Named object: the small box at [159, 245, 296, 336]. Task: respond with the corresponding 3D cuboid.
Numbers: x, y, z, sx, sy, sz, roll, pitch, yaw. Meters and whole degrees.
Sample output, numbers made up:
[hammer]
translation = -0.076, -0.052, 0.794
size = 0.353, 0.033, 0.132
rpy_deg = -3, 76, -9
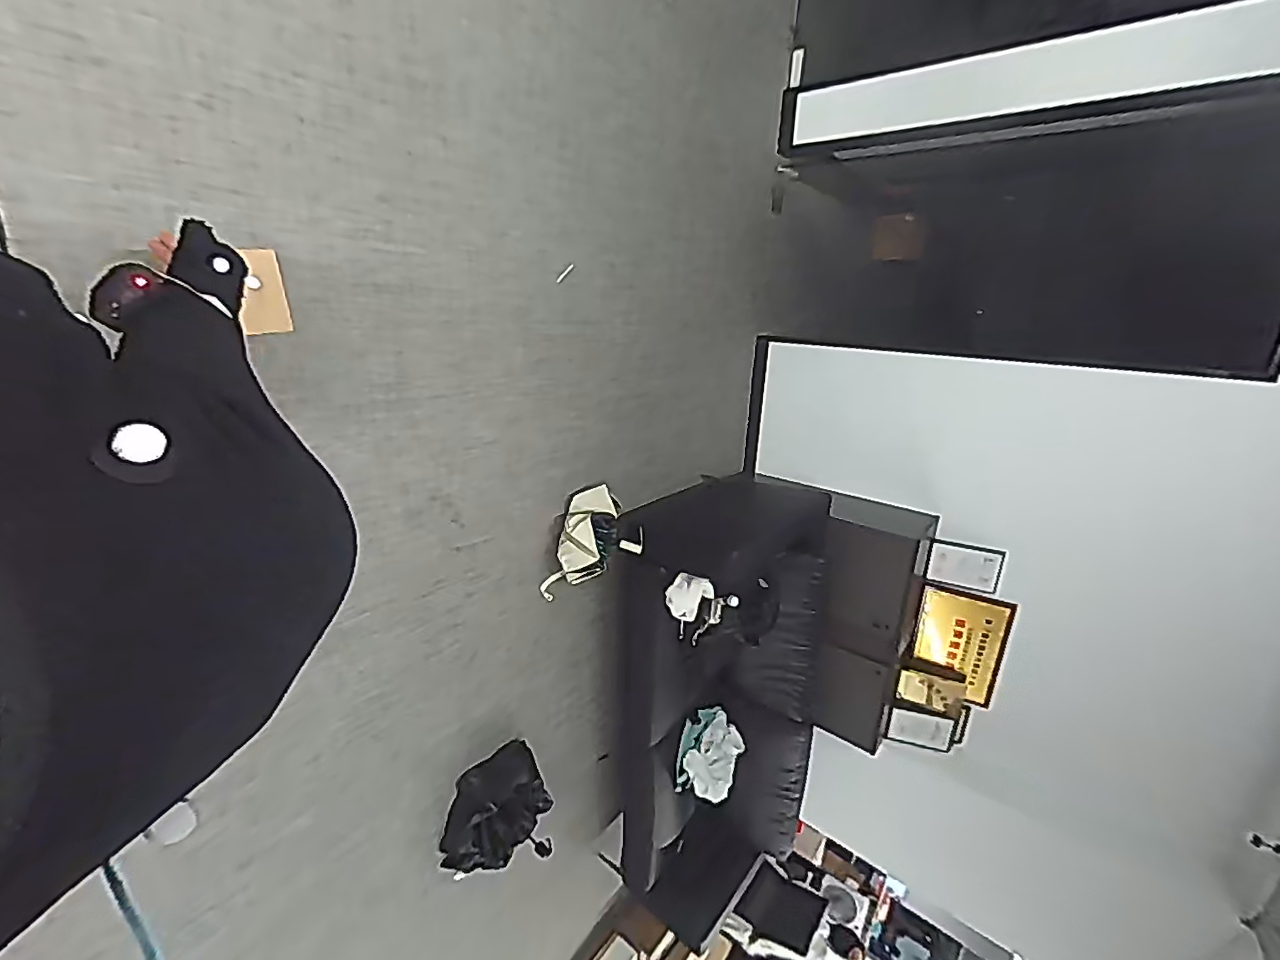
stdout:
[small box]
translation = -0.858, -0.396, 1.122
size = 0.179, 0.176, 0.168
rpy_deg = -26, 124, -46
